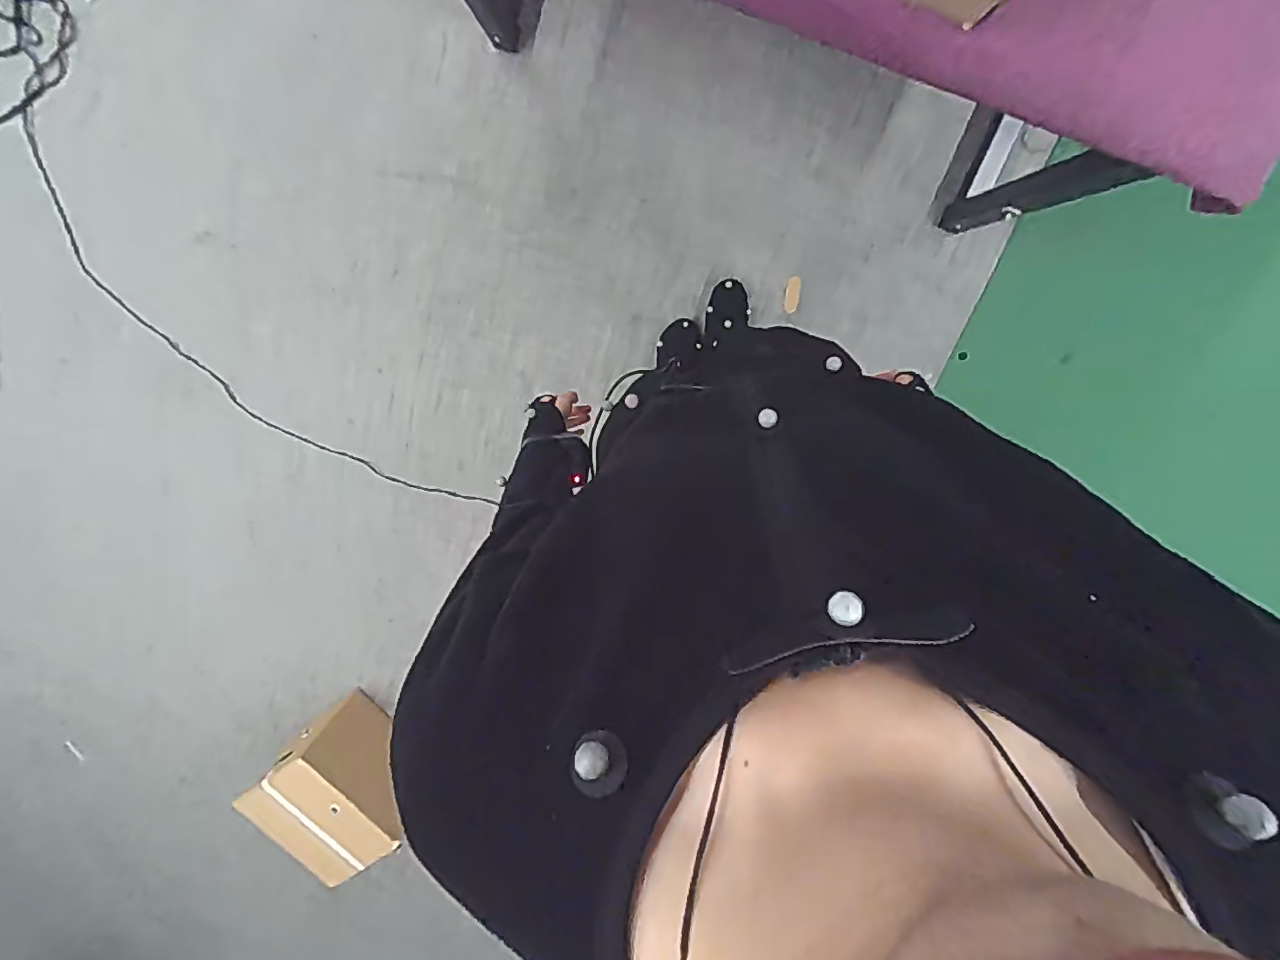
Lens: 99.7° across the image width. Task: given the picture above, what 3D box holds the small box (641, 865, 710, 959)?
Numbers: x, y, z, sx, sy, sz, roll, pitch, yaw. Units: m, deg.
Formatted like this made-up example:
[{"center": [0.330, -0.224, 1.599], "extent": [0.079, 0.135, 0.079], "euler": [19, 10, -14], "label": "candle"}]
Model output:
[{"center": [0.093, 1.194, 1.472], "extent": [0.168, 0.176, 0.179], "euler": [6, 106, 2], "label": "small box"}]
